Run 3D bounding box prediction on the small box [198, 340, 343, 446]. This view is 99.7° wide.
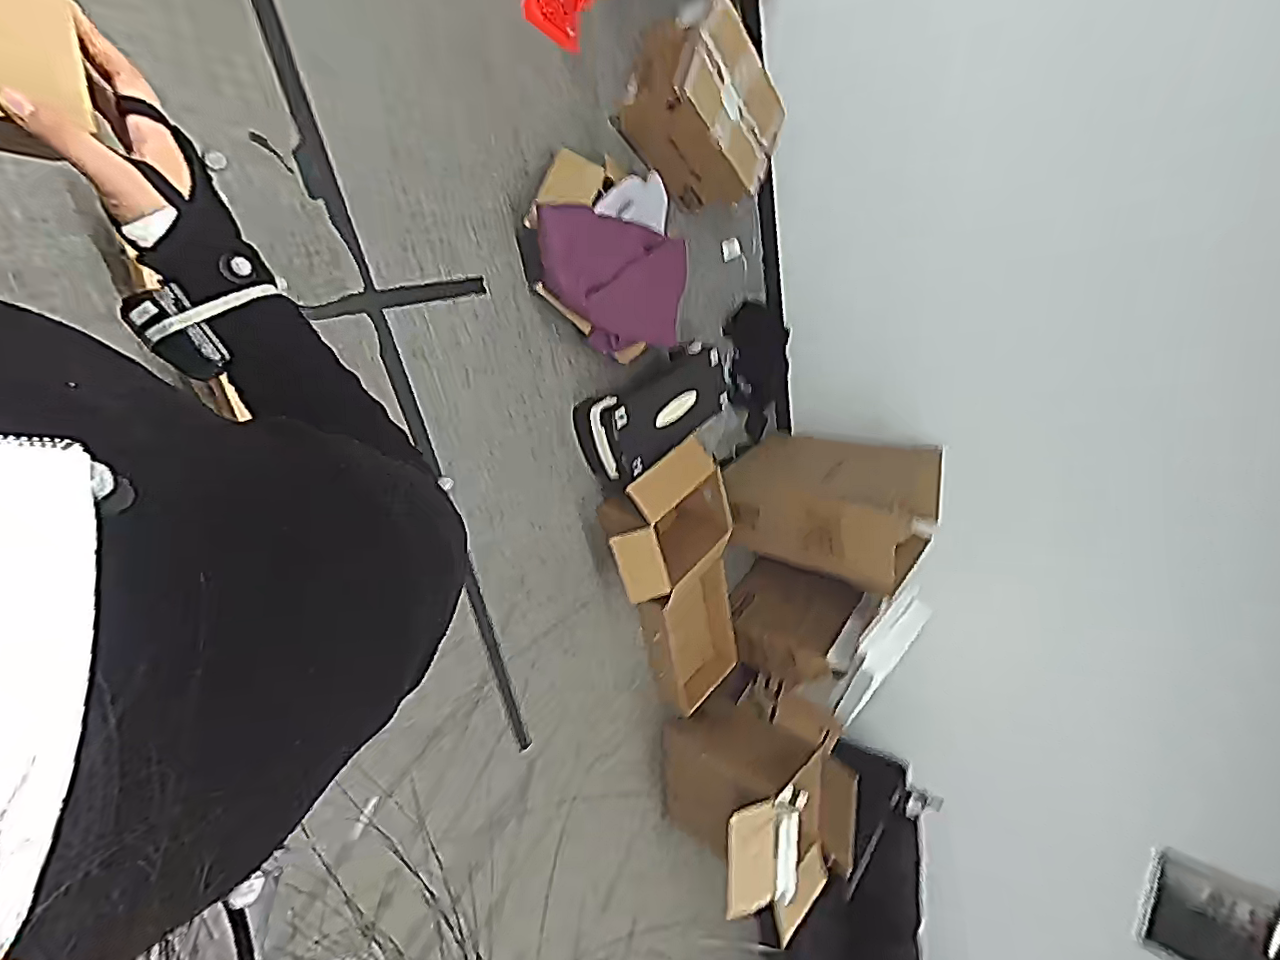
[{"bbox_3d":[-0.728,-0.178,1.067,0.179,0.176,0.168,-27,116,-39],"label":"small box"}]

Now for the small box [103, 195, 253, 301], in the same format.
[{"bbox_3d":[-0.905,-0.452,1.063,0.179,0.176,0.168,-26,116,-40],"label":"small box"}]

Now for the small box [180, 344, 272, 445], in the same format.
[{"bbox_3d":[-0.853,-0.192,1.172,0.168,0.176,0.179,-31,119,-39],"label":"small box"}]

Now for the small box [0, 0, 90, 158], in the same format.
[{"bbox_3d":[-0.445,-0.287,0.288,0.179,0.176,0.168,-18,119,-49],"label":"small box"}]
